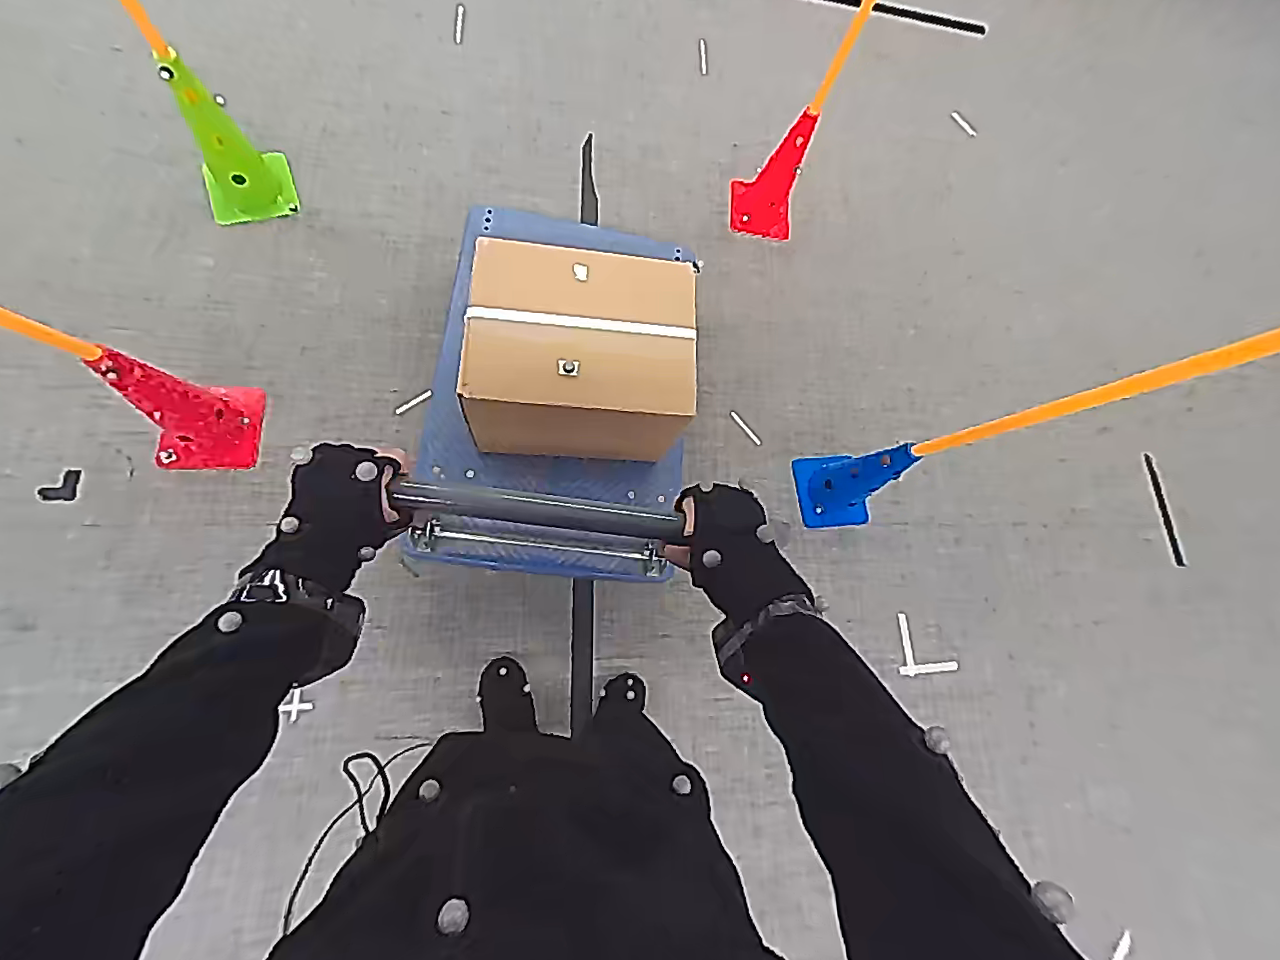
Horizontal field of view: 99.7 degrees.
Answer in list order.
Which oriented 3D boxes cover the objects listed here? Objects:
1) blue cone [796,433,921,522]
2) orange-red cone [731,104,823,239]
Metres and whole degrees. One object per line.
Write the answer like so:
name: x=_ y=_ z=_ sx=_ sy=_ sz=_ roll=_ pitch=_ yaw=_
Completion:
blue cone: x=0.564 y=-0.025 z=1.349 sx=0.193 sy=0.380 sz=0.192 roll=-2 pitch=74 yaw=-12
orange-red cone: x=0.420 y=-0.903 z=1.545 sx=0.199 sy=0.360 sz=0.198 roll=8 pitch=74 yaw=-10
